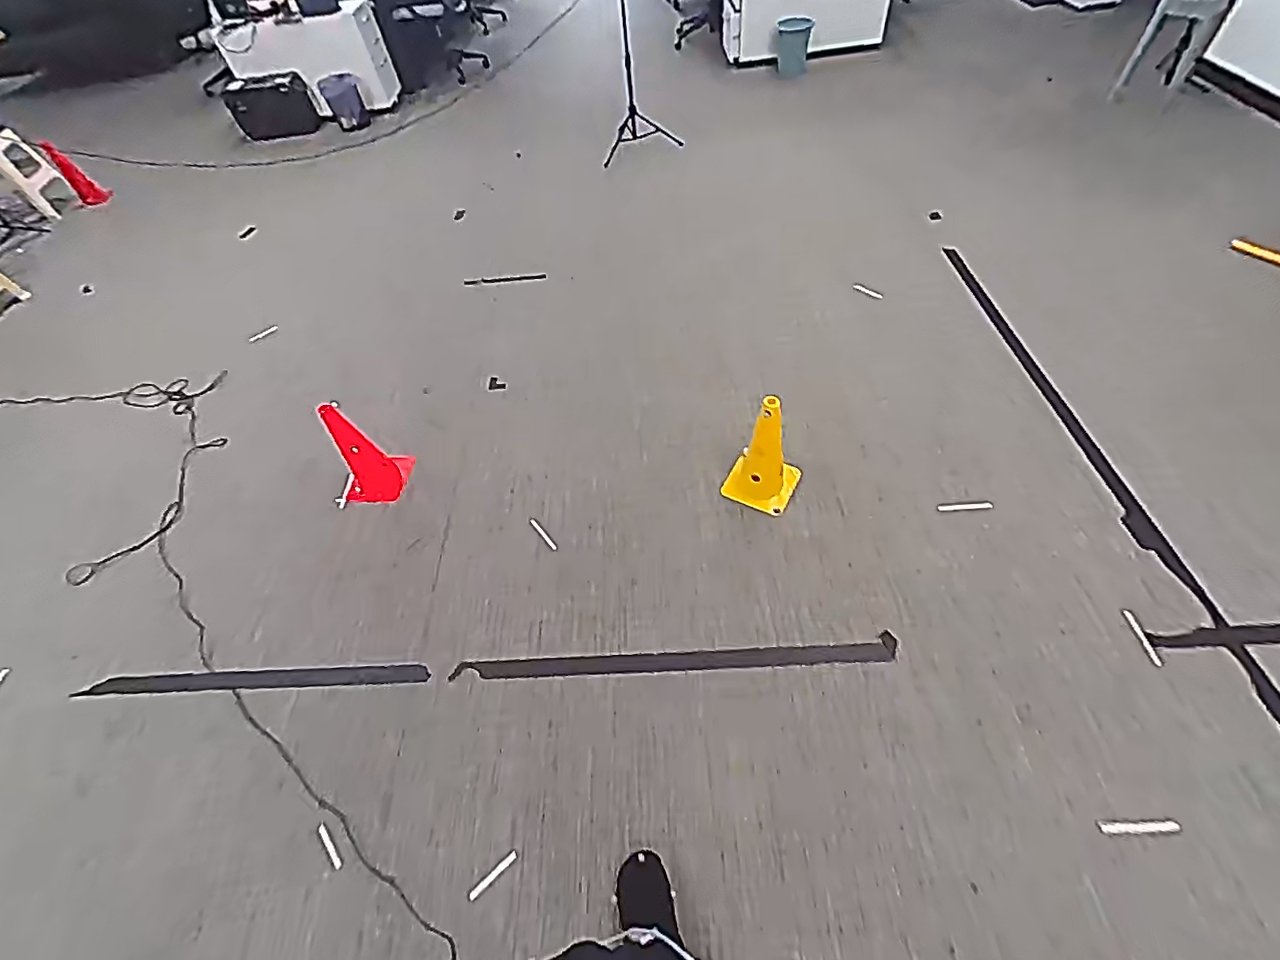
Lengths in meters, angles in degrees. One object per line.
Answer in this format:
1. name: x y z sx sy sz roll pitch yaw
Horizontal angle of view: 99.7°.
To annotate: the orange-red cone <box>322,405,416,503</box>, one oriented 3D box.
1. orange-red cone: -0.914 -0.107 1.754 0.199 0.360 0.198 2 54 7
